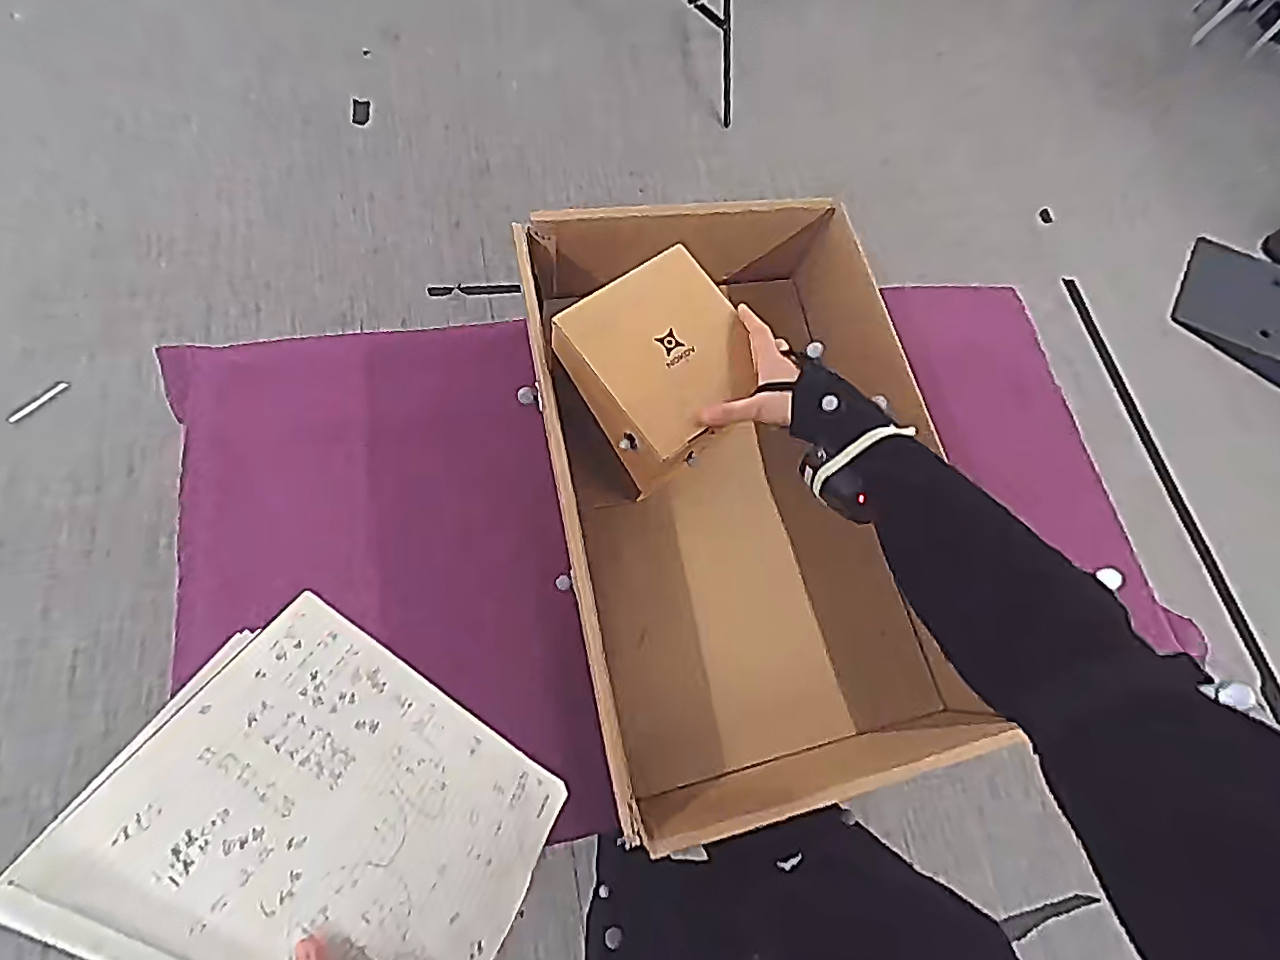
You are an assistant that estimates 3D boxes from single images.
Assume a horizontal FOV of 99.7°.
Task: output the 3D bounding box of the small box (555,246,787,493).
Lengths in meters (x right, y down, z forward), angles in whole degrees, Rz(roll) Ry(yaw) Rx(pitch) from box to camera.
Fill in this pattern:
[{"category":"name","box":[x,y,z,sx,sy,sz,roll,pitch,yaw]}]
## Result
[{"category":"small box","box":[0.019,-0.109,0.598,0.168,0.176,0.179,-36,85,-17]}]
